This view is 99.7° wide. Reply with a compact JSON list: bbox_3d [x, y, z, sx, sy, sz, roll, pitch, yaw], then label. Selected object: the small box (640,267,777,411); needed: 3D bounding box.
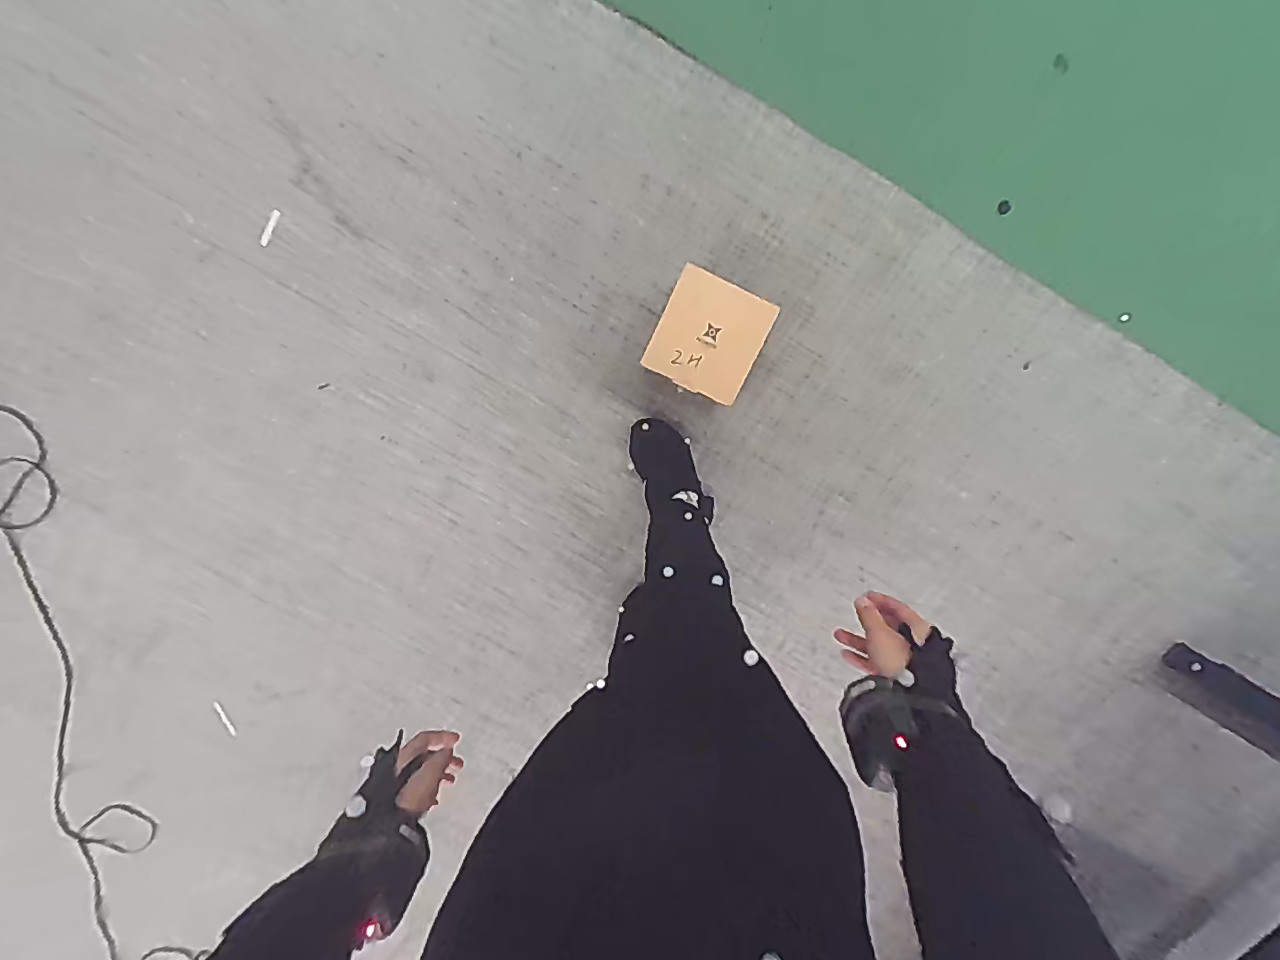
[{"bbox_3d":[0.110,-0.238,0.938,0.168,0.176,0.179,26,102,-2],"label":"small box"}]
